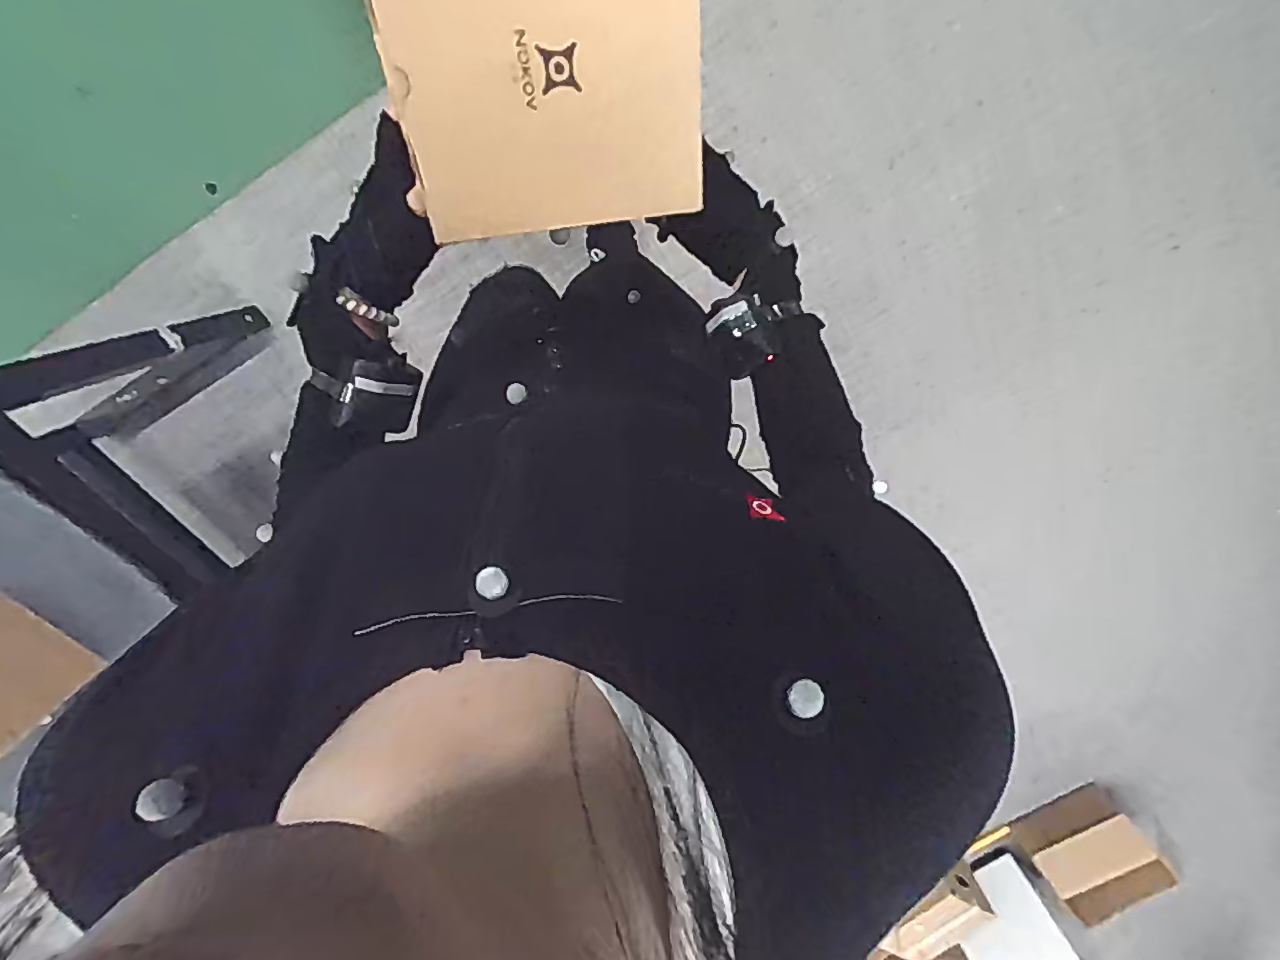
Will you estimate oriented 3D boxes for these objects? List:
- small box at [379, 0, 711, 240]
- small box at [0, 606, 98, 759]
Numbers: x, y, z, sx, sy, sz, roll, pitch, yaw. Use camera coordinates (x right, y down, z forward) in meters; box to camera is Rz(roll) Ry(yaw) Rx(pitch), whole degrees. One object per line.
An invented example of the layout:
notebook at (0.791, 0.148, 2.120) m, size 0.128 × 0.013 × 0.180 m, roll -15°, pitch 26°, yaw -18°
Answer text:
small box at (-0.061, -0.276, 0.363) m, size 0.179 × 0.176 × 0.168 m, roll -11°, pitch 127°, yaw -7°
small box at (-0.920, 0.294, 0.725) m, size 0.168 × 0.176 × 0.179 m, roll -31°, pitch 114°, yaw 10°
